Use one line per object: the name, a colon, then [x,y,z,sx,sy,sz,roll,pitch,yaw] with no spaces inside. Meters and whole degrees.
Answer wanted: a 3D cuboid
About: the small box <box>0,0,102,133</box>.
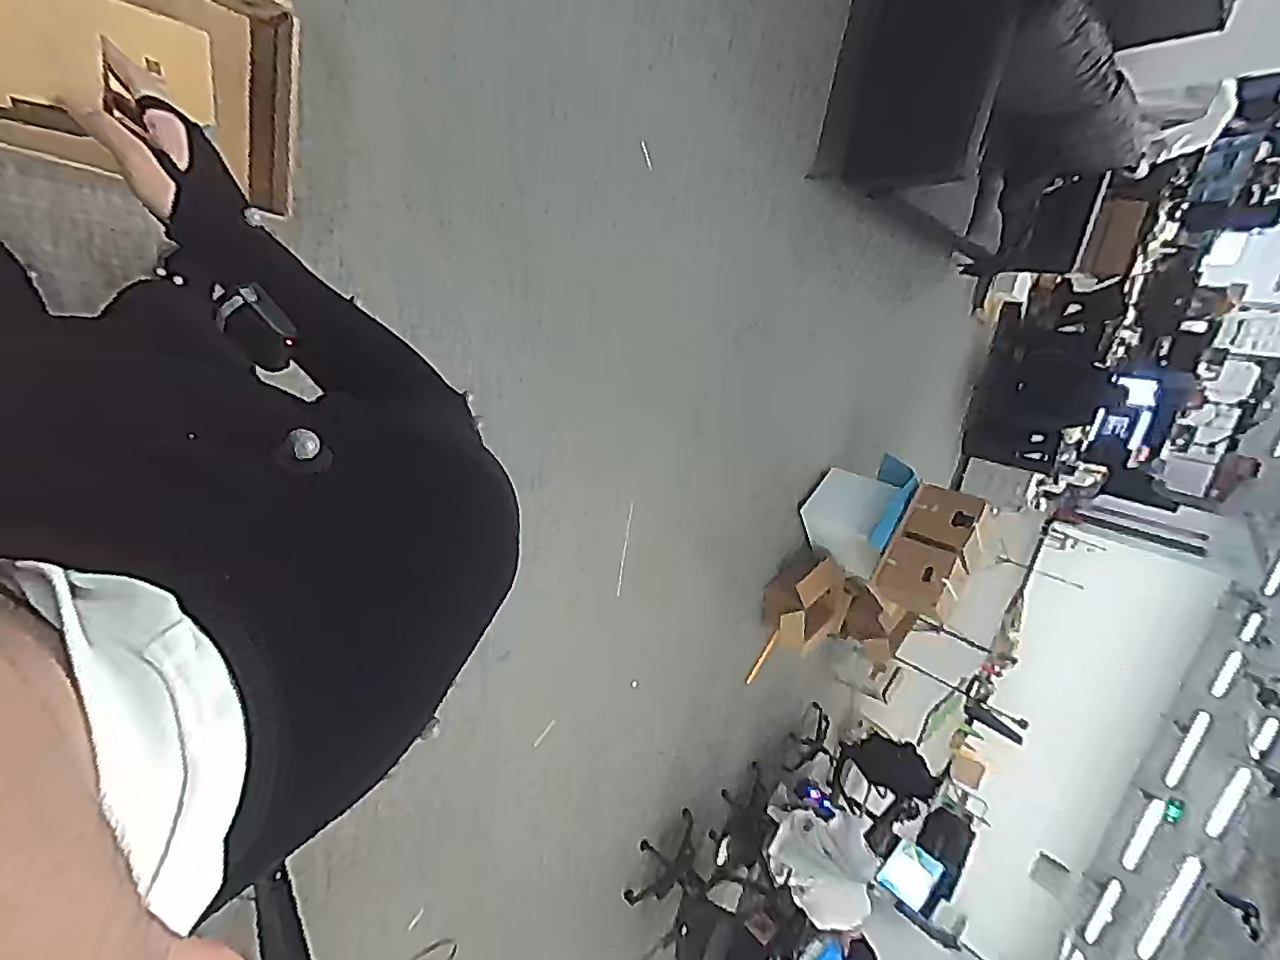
small box: [-0.550,-0.389,0.415,0.168,0.176,0.179,-14,119,-47]
